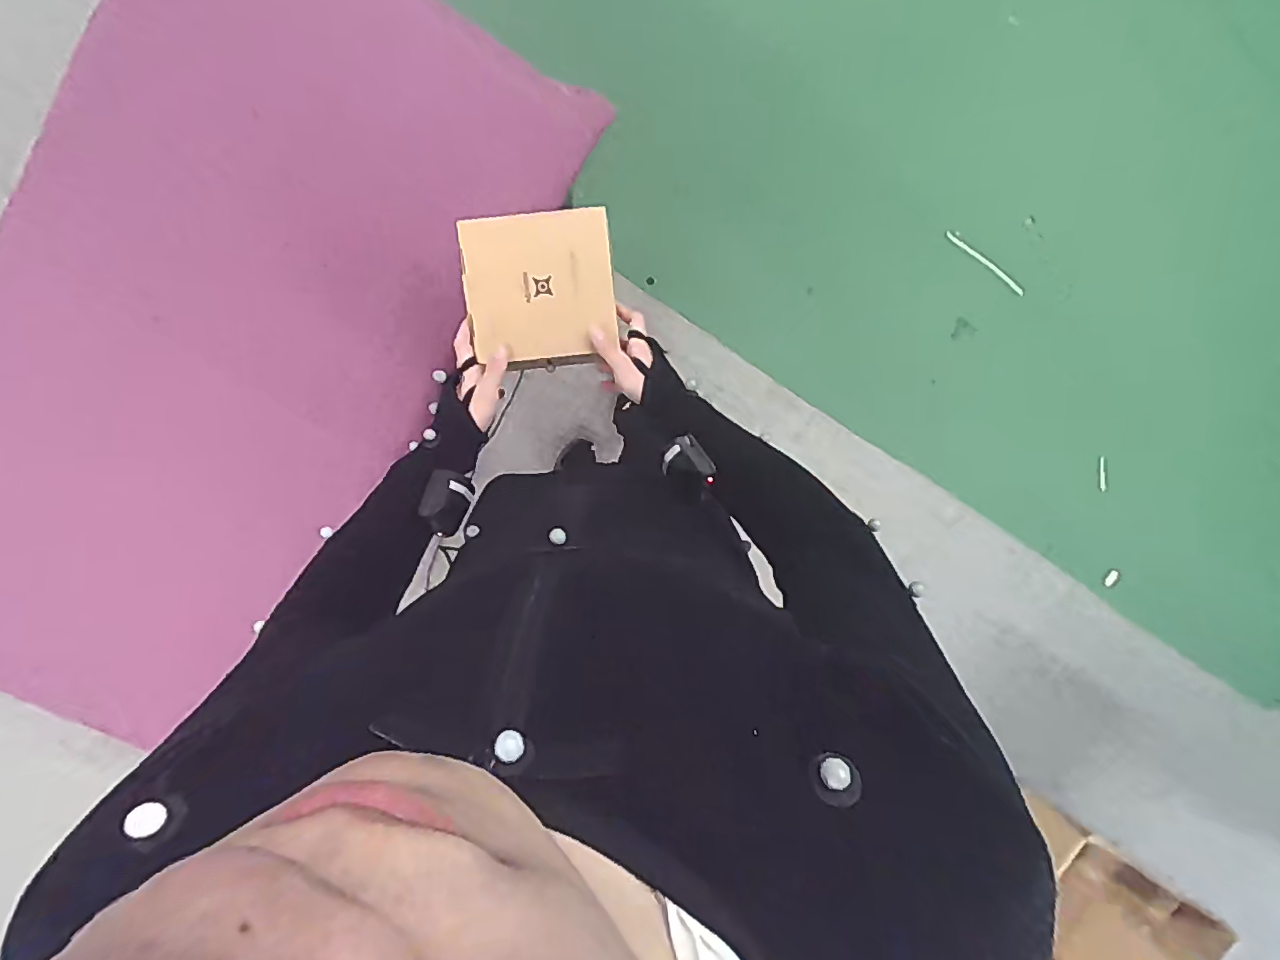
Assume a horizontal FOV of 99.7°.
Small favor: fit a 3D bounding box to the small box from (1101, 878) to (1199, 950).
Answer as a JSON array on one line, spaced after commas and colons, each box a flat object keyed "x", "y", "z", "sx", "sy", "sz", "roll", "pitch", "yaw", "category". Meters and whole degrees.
[{"x": 1.332, "y": 1.236, "z": 1.453, "sx": 0.168, "sy": 0.176, "sz": 0.179, "roll": 33, "pitch": 92, "yaw": -10, "category": "small box"}]

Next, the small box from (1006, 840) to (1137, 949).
[{"x": 1.108, "y": 1.092, "z": 1.404, "sx": 0.168, "sy": 0.176, "sz": 0.179, "roll": 35, "pitch": 92, "yaw": -11, "category": "small box"}]

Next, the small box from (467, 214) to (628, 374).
[{"x": -0.109, "y": -0.231, "z": 0.711, "sx": 0.179, "sy": 0.176, "sz": 0.168, "roll": -5, "pitch": 99, "yaw": -1, "category": "small box"}]

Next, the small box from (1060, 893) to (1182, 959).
[{"x": 1.123, "y": 1.115, "z": 1.241, "sx": 0.168, "sy": 0.176, "sz": 0.179, "roll": 36, "pitch": 92, "yaw": -11, "category": "small box"}]
